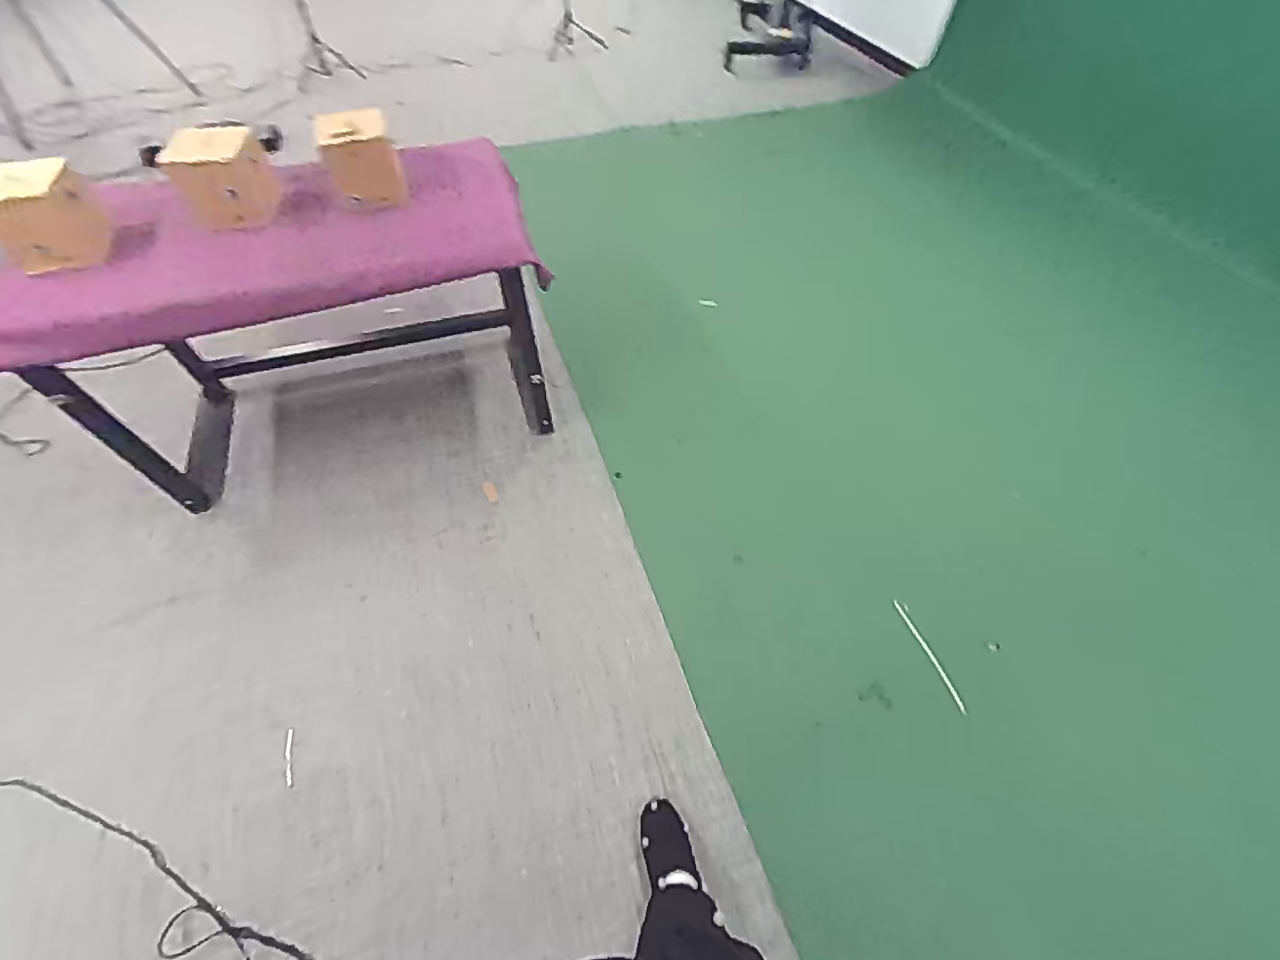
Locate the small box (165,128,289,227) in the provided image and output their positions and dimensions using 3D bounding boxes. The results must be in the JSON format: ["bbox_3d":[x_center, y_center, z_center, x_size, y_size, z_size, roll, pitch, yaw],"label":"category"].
[{"bbox_3d":[-1.023,-0.755,1.360,0.168,0.176,0.179,-5,54,-6],"label":"small box"}]

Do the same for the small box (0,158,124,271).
[{"bbox_3d":[-1.359,-0.613,1.252,0.168,0.176,0.179,-14,56,-11],"label":"small box"}]

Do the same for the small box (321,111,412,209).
[{"bbox_3d":[-0.711,-0.830,1.417,0.168,0.176,0.179,-16,55,-12],"label":"small box"}]
